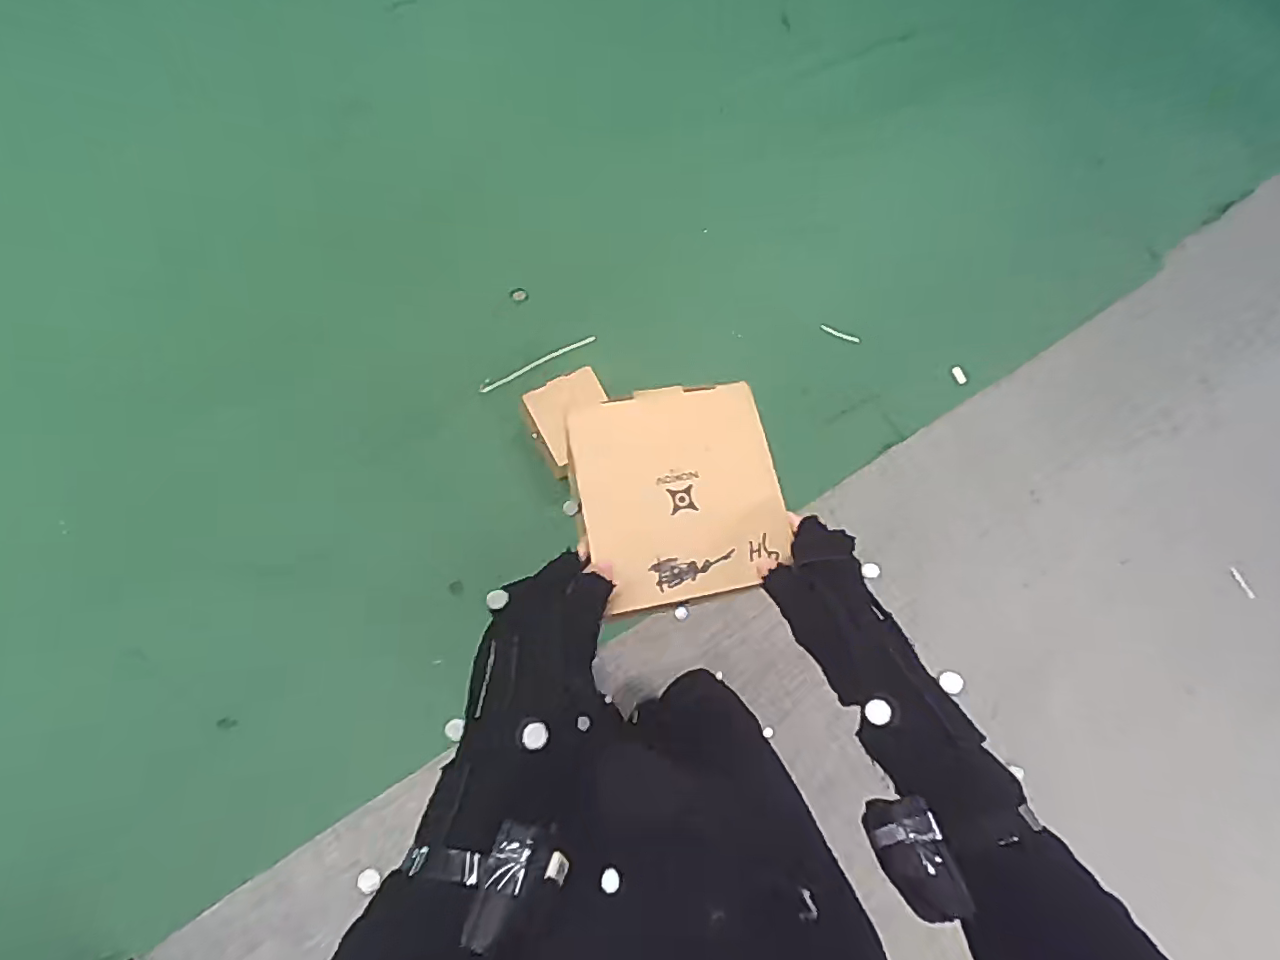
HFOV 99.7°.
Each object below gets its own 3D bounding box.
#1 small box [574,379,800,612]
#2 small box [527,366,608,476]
[{"bbox_3d":[0.028,0.024,0.529,0.168,0.176,0.179,-9,75,-9],"label":"small box"},{"bbox_3d":[-0.147,-0.128,1.235,0.168,0.176,0.179,-28,87,-13],"label":"small box"}]
